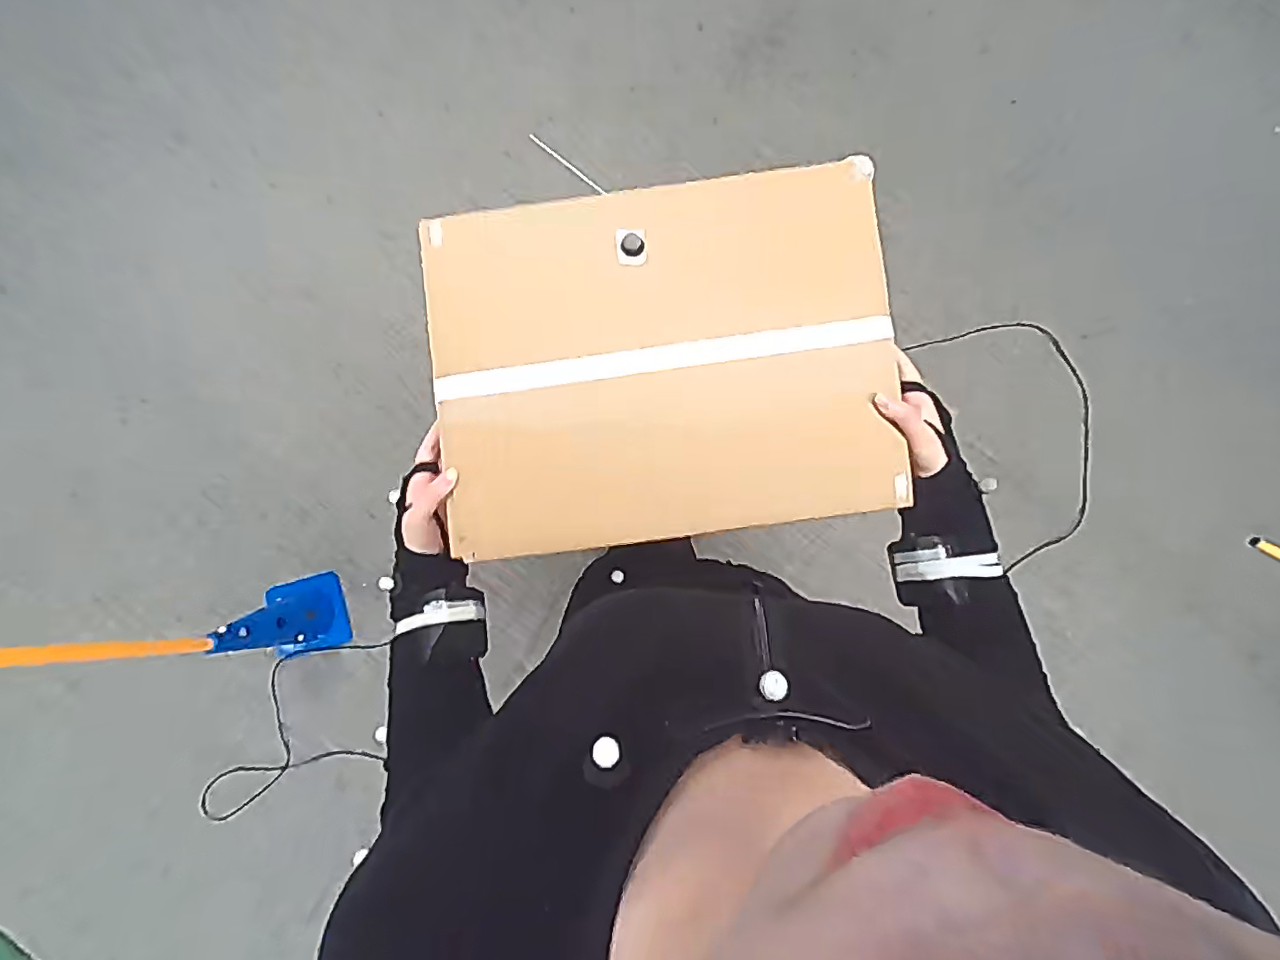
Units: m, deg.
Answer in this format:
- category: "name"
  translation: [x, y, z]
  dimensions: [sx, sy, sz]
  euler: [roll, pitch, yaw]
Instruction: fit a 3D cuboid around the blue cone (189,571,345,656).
- category: "blue cone"
  translation: [-0.881, 0.343, 1.259]
  dimensions: [0.193, 0.380, 0.192]
  euler: [-18, 86, -2]
